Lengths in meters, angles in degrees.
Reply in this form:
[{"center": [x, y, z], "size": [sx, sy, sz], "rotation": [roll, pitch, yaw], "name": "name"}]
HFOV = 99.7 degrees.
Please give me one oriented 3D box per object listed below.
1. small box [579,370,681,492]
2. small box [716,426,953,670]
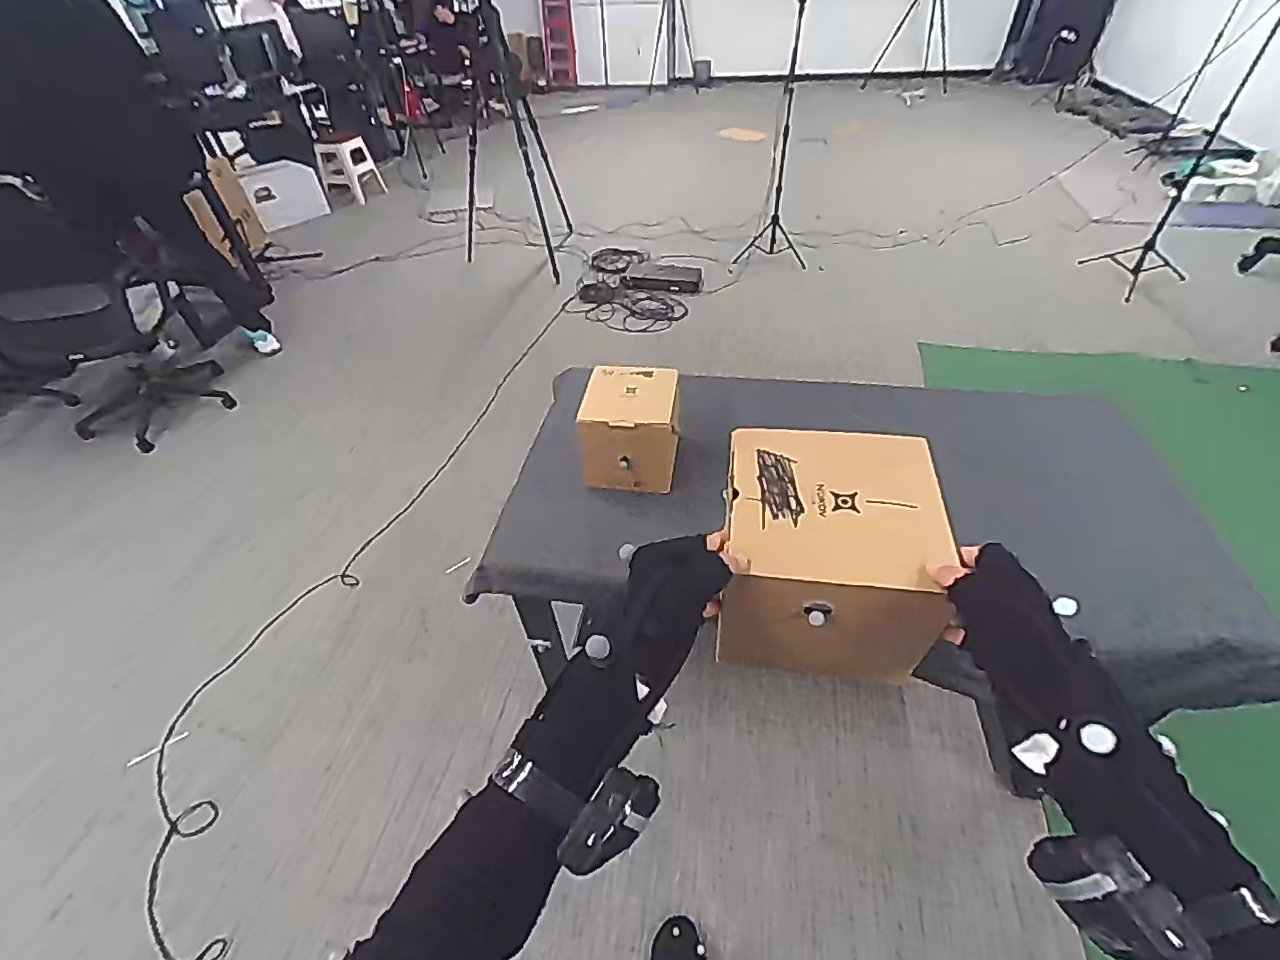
[{"center": [-0.010, -0.094, 1.048], "size": [0.168, 0.176, 0.179], "rotation": [4, 45, 8], "name": "small box"}, {"center": [0.166, 0.067, 0.523], "size": [0.179, 0.176, 0.168], "rotation": [4, 49, 9], "name": "small box"}]
